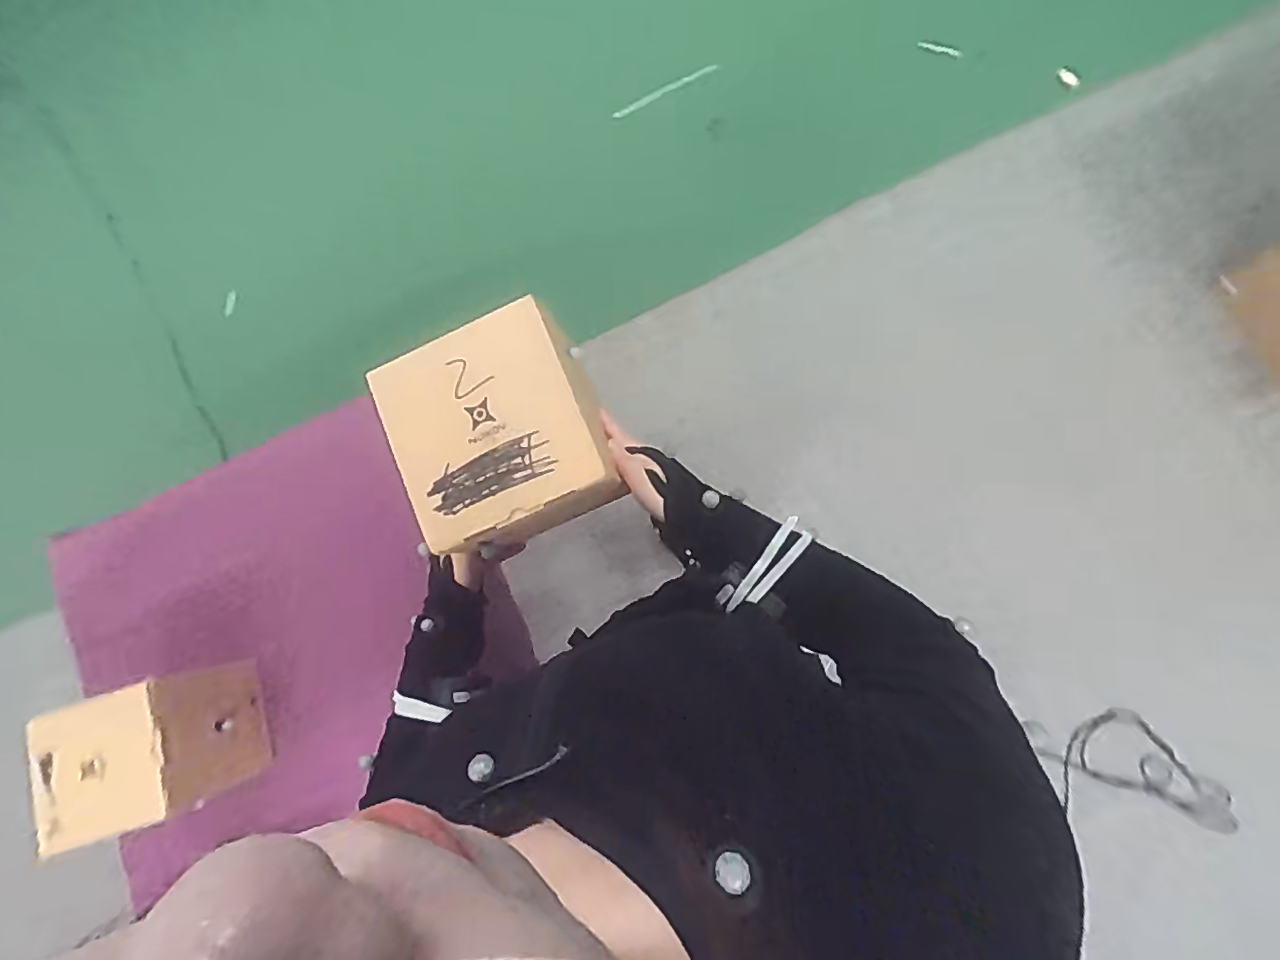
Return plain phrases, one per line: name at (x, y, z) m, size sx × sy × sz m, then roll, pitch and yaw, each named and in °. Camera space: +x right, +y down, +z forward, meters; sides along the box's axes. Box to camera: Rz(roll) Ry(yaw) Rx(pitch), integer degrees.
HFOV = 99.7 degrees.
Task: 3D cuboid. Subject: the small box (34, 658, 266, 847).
small box at (-0.658, 0.360, 0.749) m, size 0.179 × 0.176 × 0.168 m, roll -18°, pitch 79°, yaw 3°
